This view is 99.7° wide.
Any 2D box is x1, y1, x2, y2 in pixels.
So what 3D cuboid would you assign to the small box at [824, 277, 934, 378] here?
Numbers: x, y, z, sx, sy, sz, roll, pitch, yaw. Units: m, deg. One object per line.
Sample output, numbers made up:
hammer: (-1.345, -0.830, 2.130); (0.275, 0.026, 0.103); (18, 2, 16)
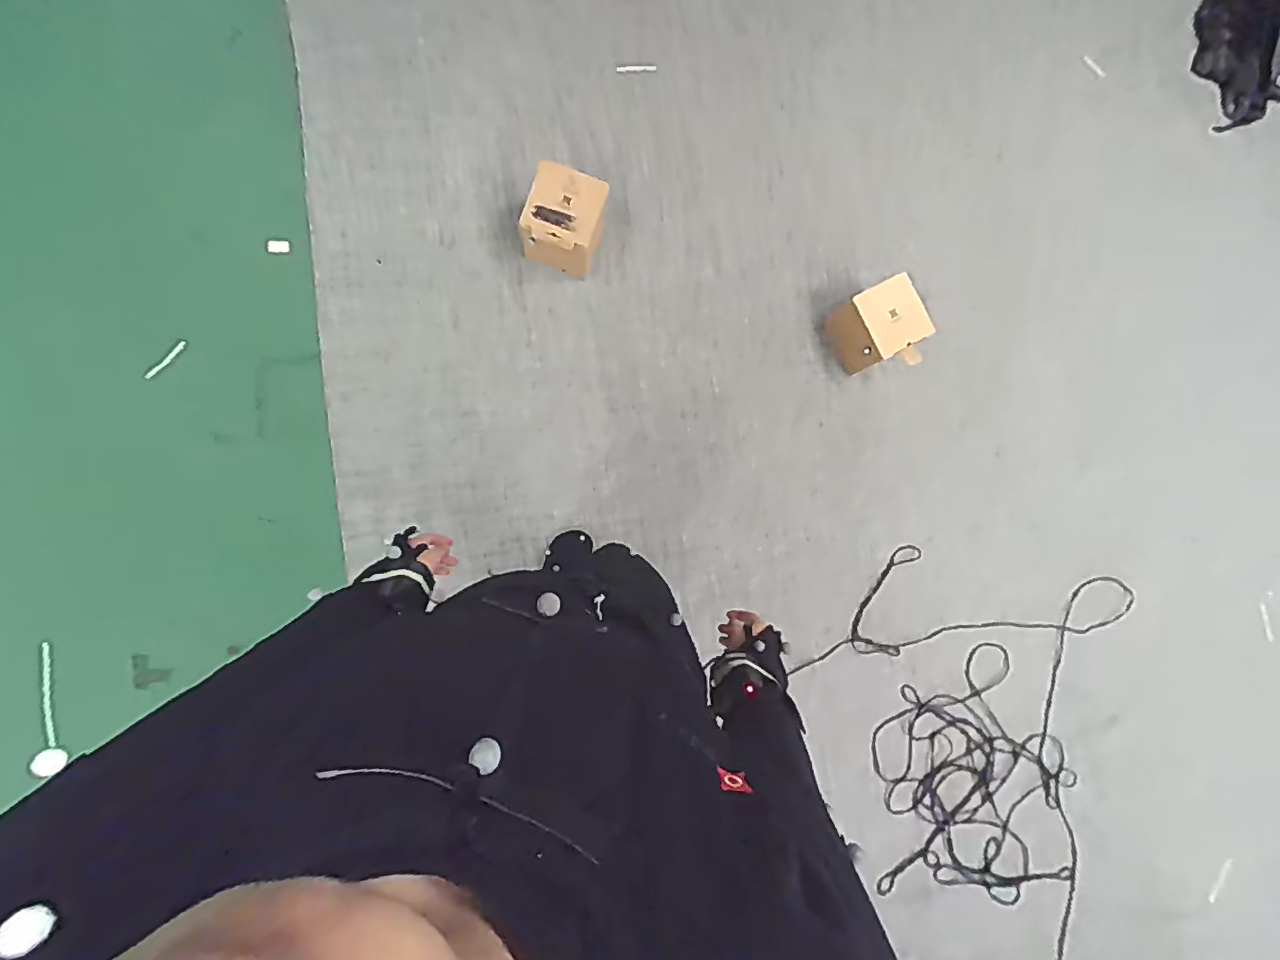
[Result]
small box: (0.619, -0.393, 1.422); (0.168, 0.176, 0.179); (-28, 91, -8)
